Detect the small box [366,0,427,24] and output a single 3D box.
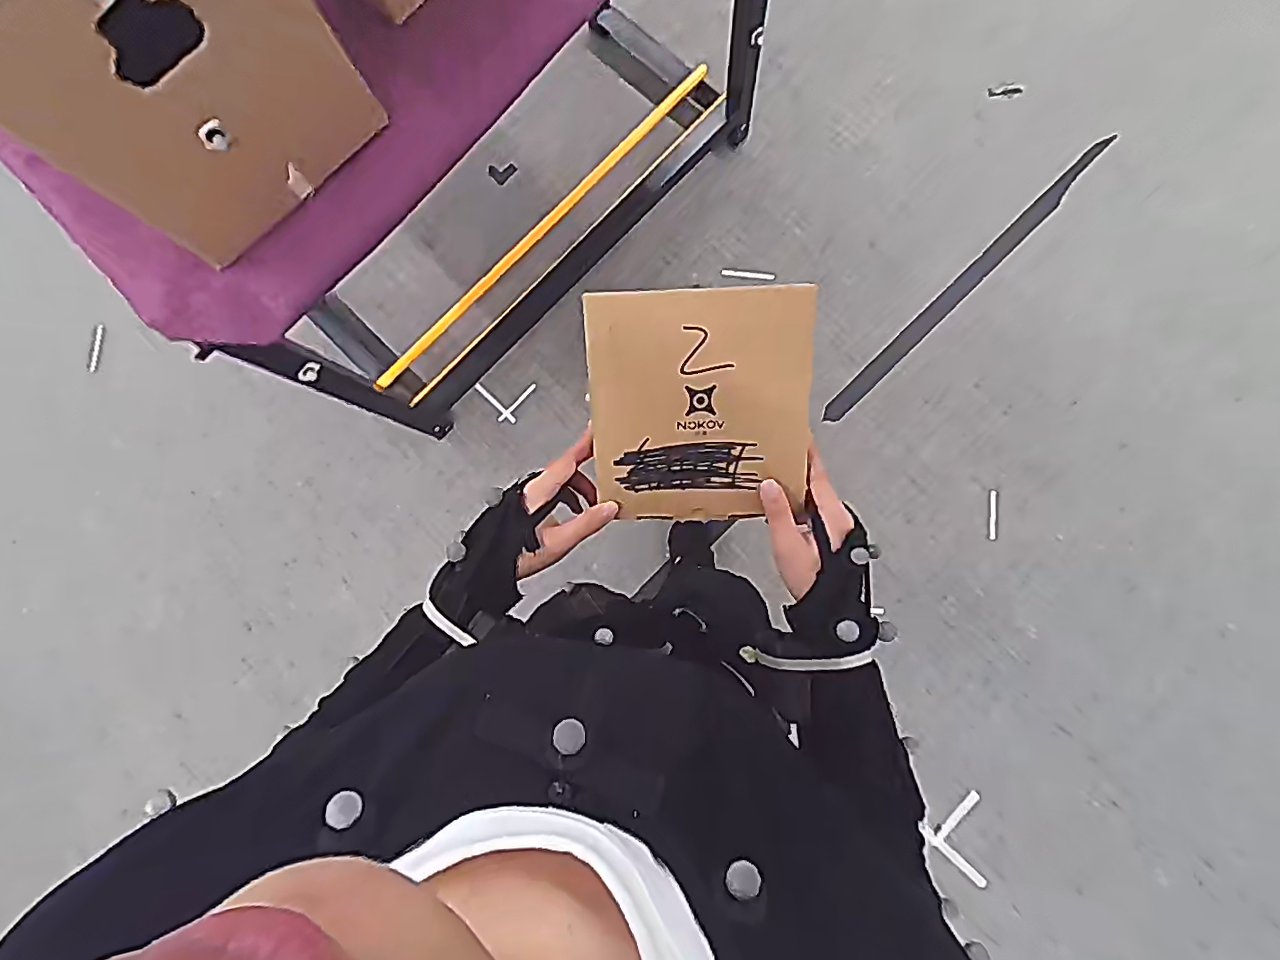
[{"bbox_3d":[-0.339,-0.757,0.691,0.168,0.176,0.179,44,89,9],"label":"small box"}]
